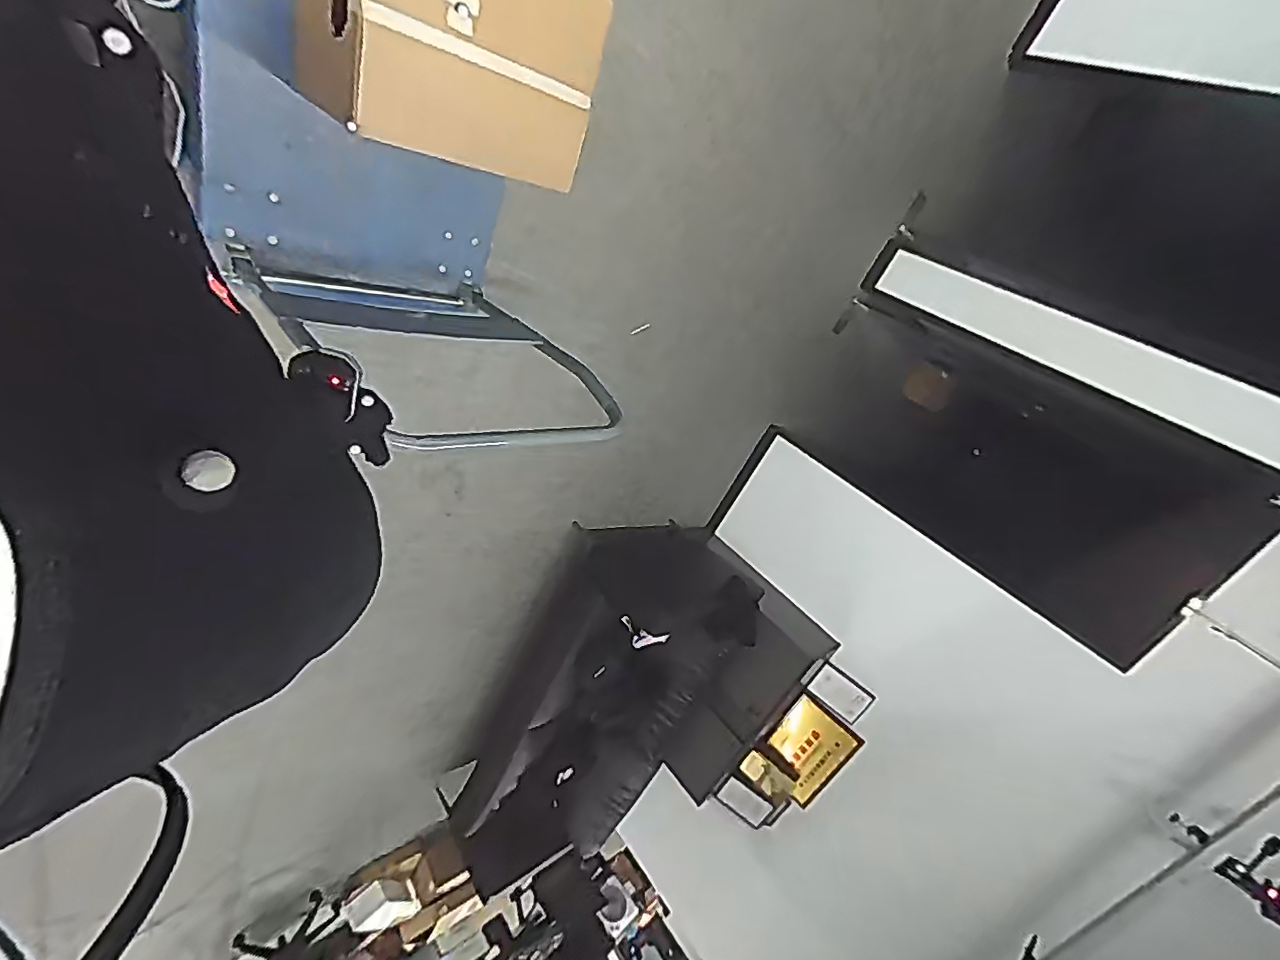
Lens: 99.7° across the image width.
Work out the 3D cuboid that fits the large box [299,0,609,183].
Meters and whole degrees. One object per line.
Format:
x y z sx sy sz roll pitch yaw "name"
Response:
-0.331 -0.768 0.950 0.408 0.320 0.320 -12 133 -42 "large box"
